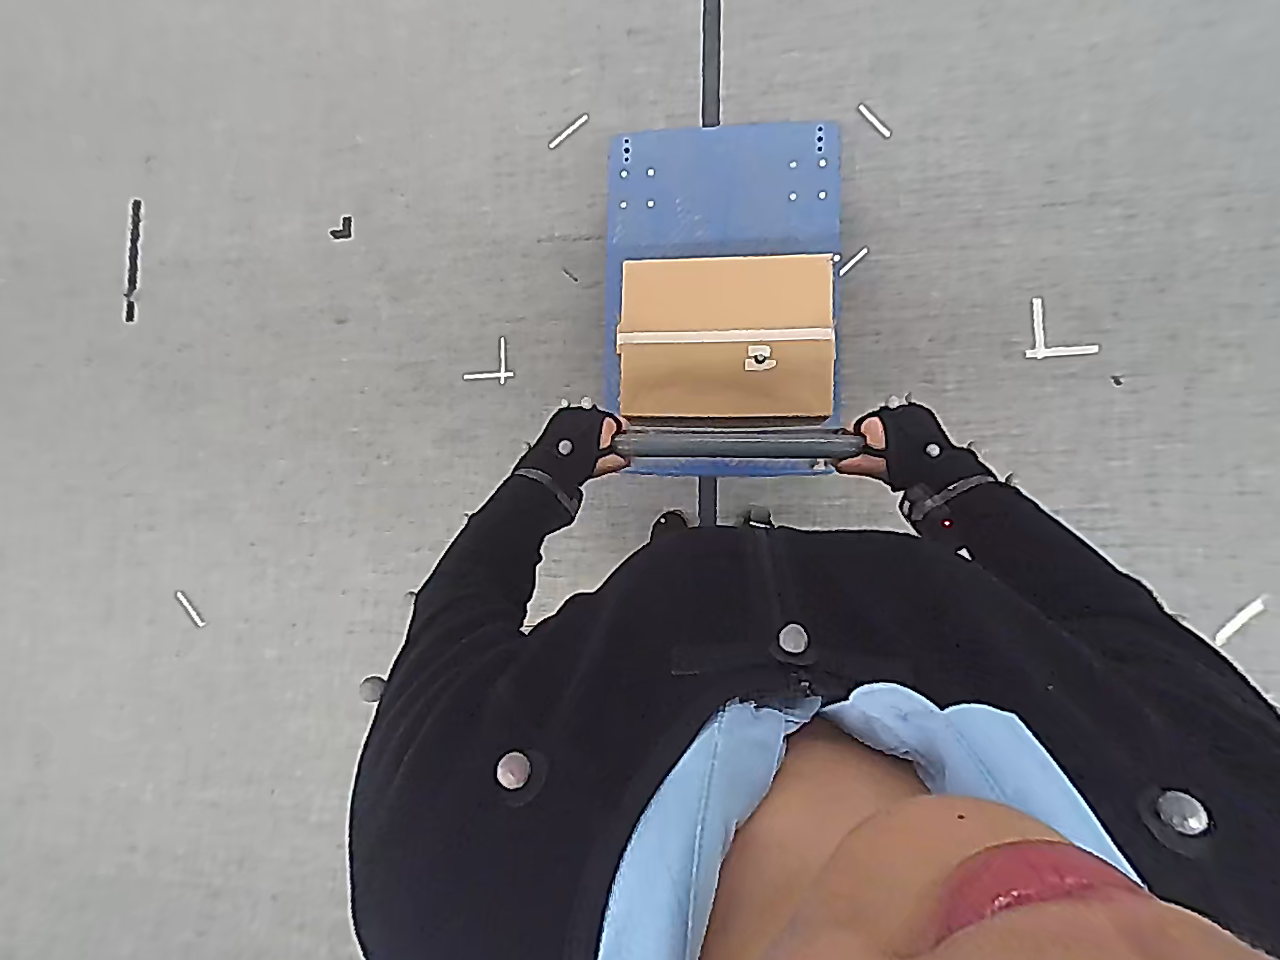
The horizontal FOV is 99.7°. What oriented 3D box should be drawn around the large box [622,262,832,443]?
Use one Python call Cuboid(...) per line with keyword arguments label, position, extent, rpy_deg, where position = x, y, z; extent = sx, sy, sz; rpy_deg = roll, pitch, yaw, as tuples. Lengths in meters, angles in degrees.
Cuboid(label="large box", position=(0.176, -0.253, 1.184), extent=(0.408, 0.320, 0.320), rpy_deg=(0, 88, 6))
